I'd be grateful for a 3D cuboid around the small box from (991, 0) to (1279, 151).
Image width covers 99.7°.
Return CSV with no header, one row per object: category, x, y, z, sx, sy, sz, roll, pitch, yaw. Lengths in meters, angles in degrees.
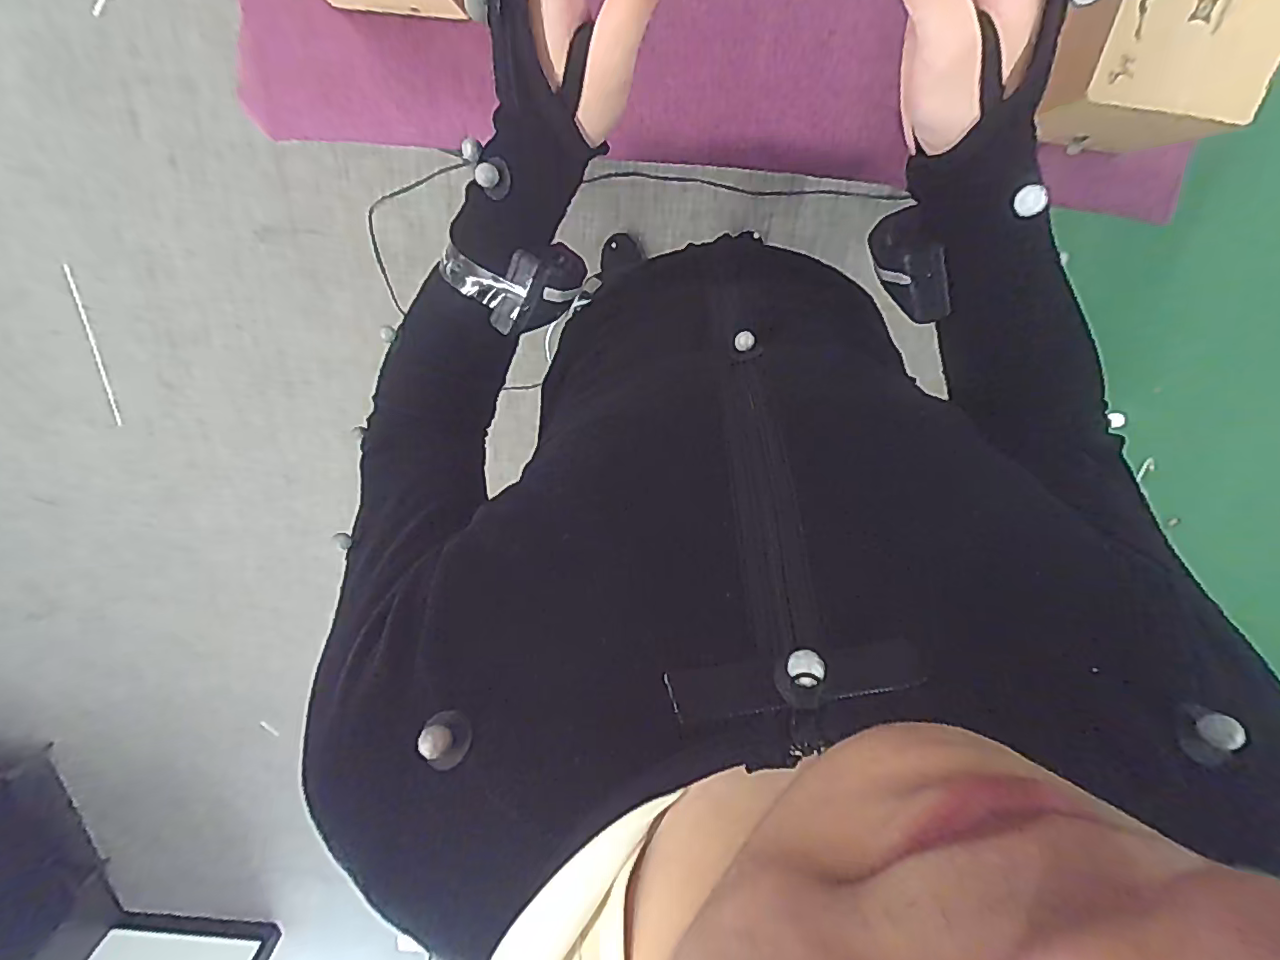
small box,0.541,-0.476,0.592,0.179,0.176,0.168,8,112,-2
